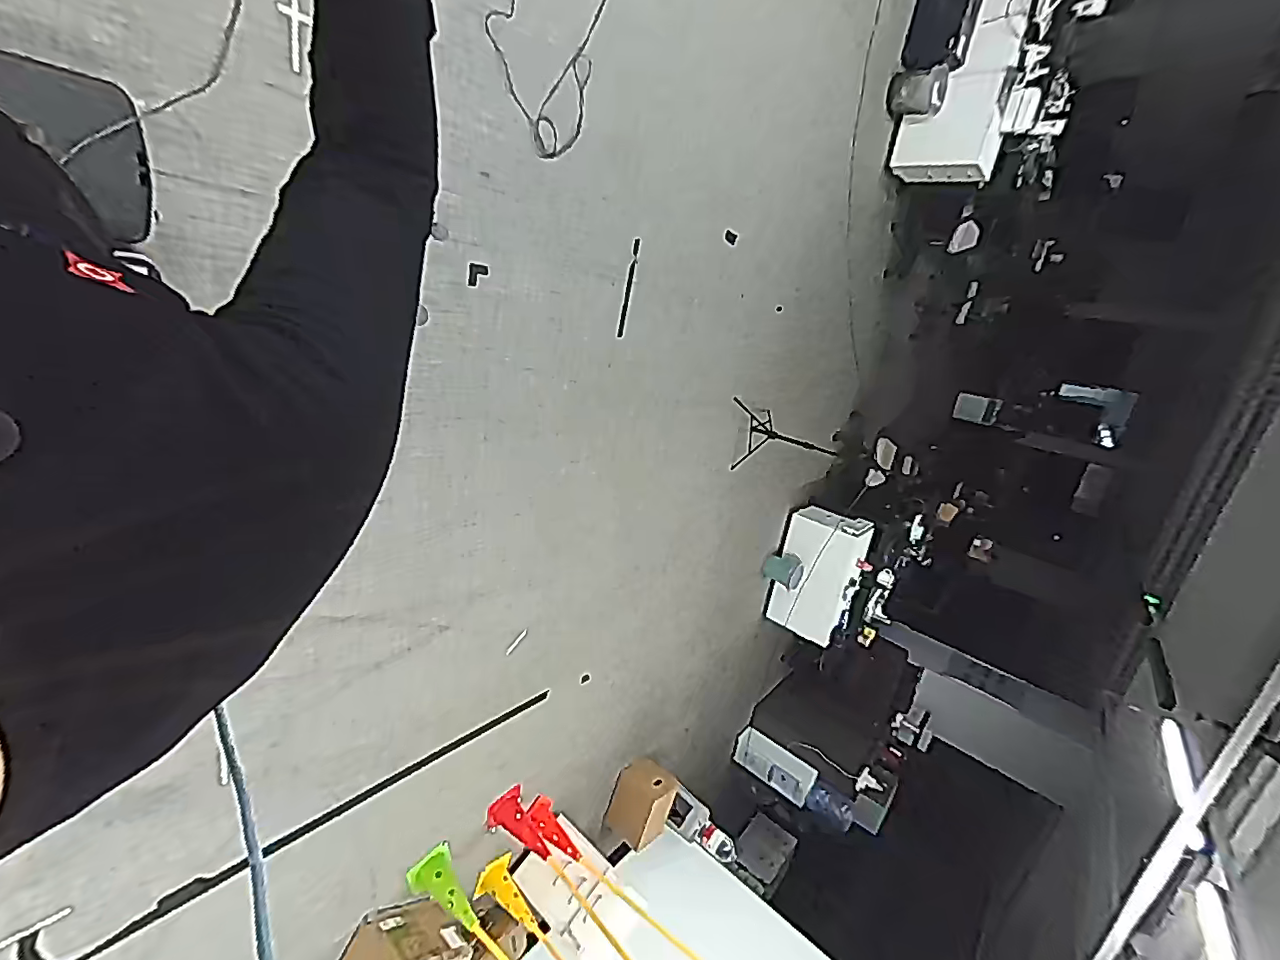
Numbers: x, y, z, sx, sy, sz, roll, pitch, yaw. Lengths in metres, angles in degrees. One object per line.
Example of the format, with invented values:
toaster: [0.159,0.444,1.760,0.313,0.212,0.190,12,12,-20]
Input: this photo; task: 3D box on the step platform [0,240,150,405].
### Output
step platform: [-1.241,-0.265,0.861,0.684,0.204,0.286,-13,118,-48]
